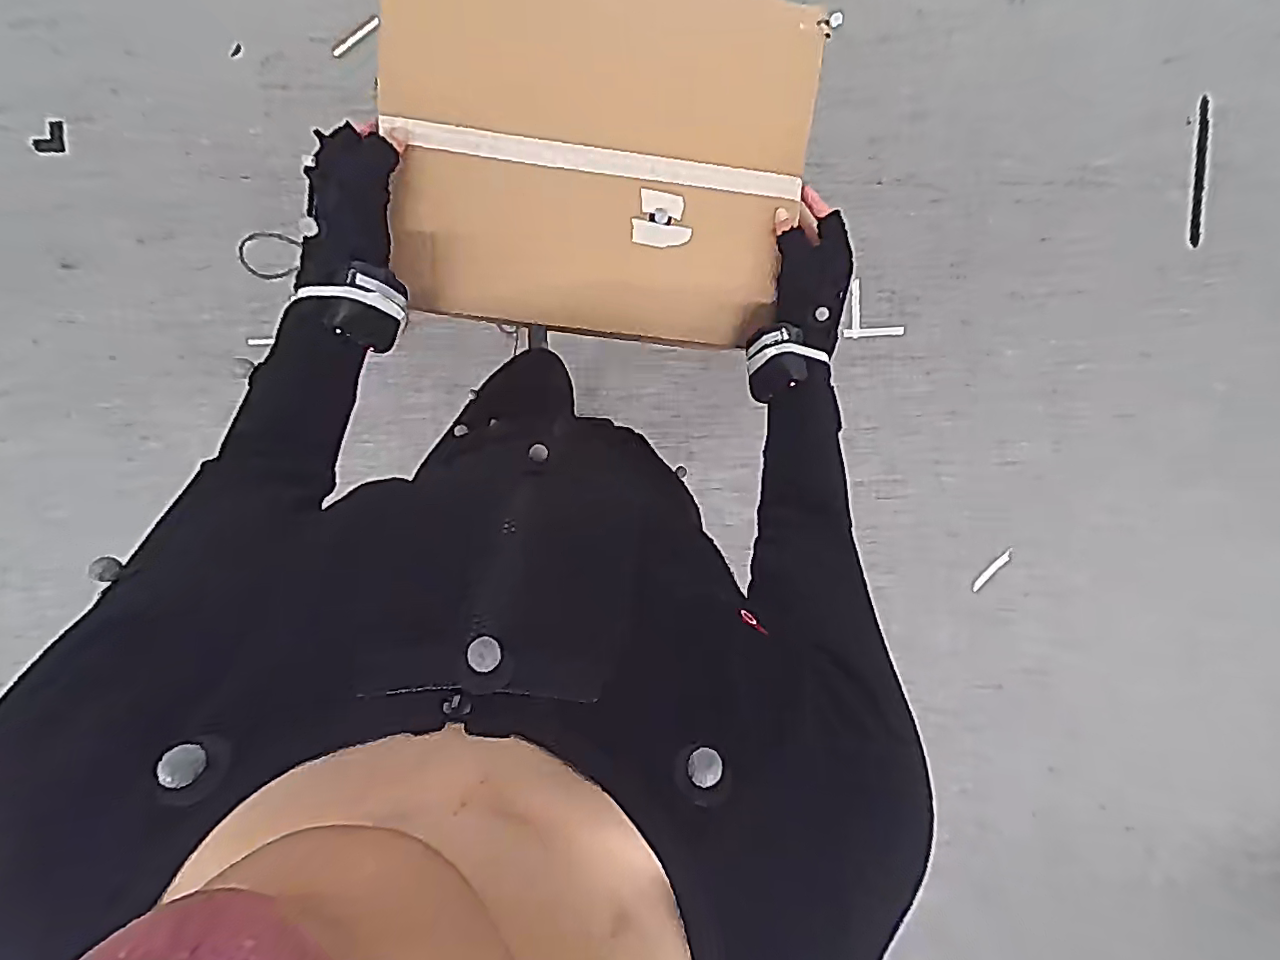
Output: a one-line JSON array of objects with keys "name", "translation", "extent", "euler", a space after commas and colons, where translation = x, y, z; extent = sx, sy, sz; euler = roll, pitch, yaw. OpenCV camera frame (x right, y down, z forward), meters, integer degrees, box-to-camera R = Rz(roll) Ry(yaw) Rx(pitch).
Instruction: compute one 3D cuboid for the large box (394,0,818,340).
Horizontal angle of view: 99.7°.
[{"name": "large box", "translation": [-0.051, -0.353, 0.679], "extent": [0.408, 0.320, 0.320], "euler": [5, 104, -6]}]
